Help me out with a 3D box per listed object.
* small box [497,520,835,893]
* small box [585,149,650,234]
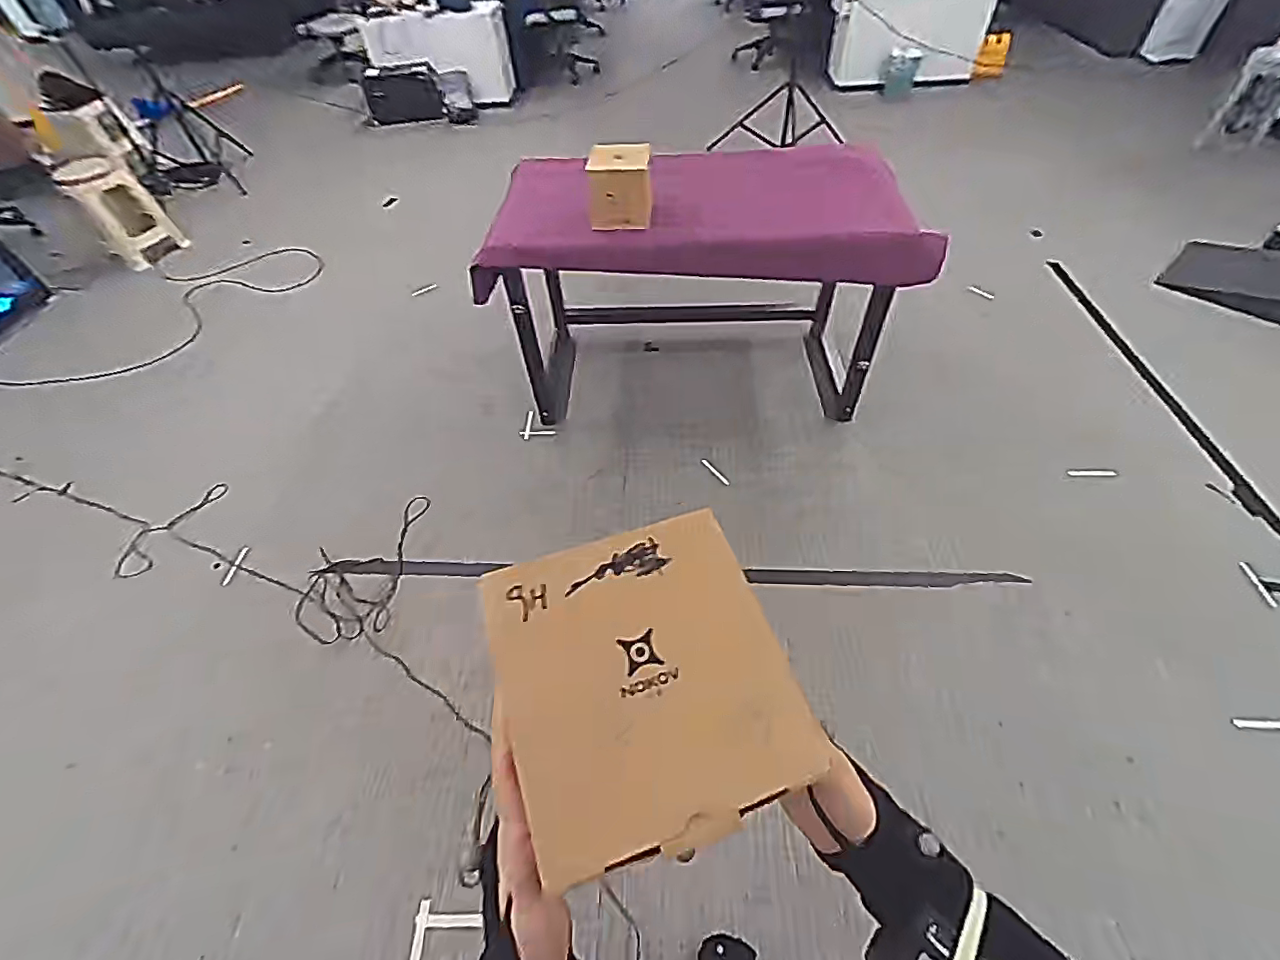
[{"bbox_3d":[0.005,0.158,0.395,0.168,0.176,0.179,-14,60,-13],"label":"small box"},{"bbox_3d":[-0.059,-0.827,1.558,0.168,0.176,0.179,1,50,4],"label":"small box"}]
